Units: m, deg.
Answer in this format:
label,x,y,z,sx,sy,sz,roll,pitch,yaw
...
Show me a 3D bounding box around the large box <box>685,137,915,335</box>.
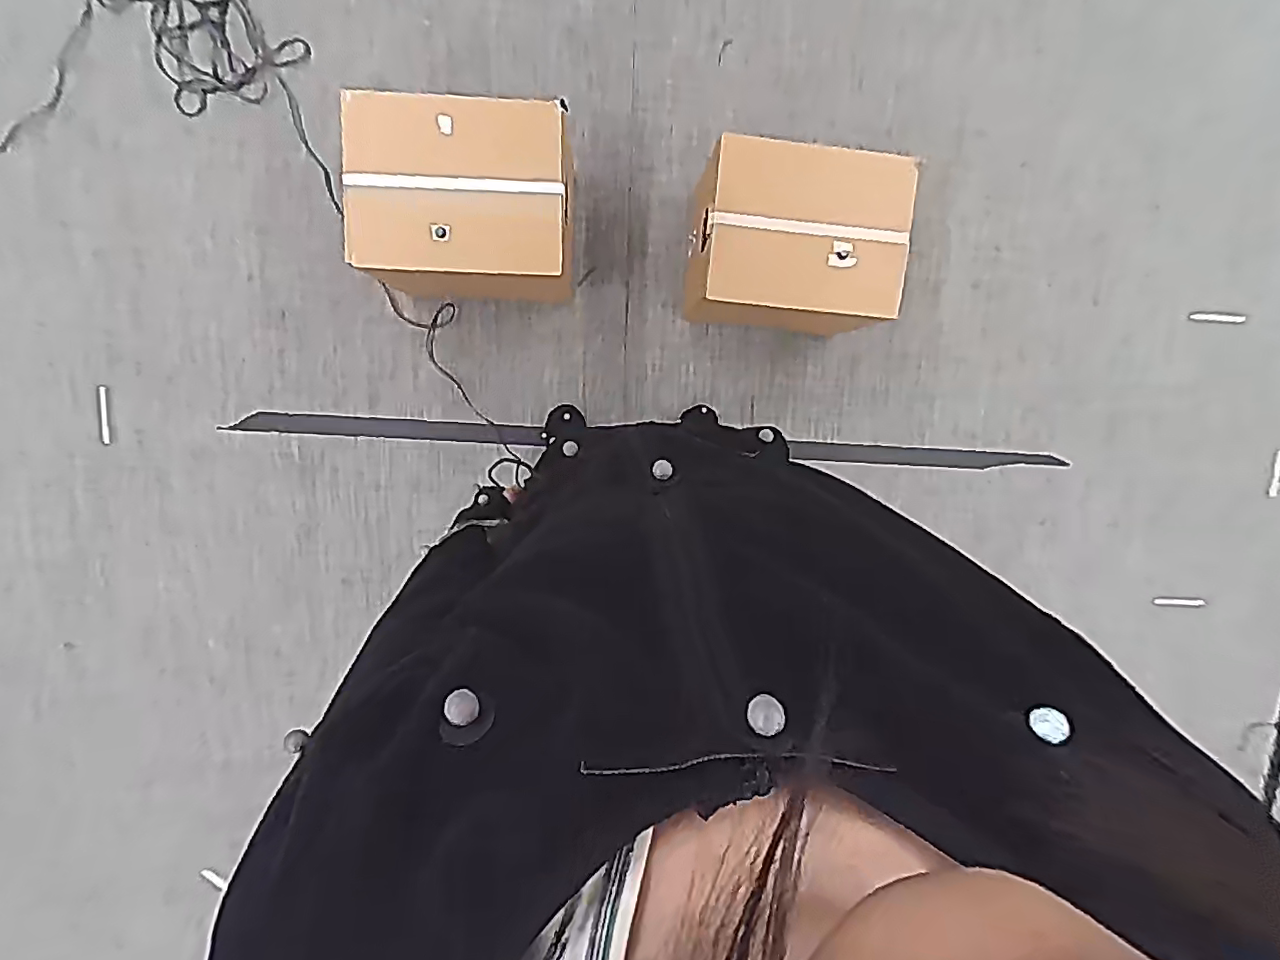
label,x,y,z,sx,sy,sz,roll,pitch,yaw
large box,0.332,-0.522,1.232,0.408,0.320,0.320,5,98,-5
